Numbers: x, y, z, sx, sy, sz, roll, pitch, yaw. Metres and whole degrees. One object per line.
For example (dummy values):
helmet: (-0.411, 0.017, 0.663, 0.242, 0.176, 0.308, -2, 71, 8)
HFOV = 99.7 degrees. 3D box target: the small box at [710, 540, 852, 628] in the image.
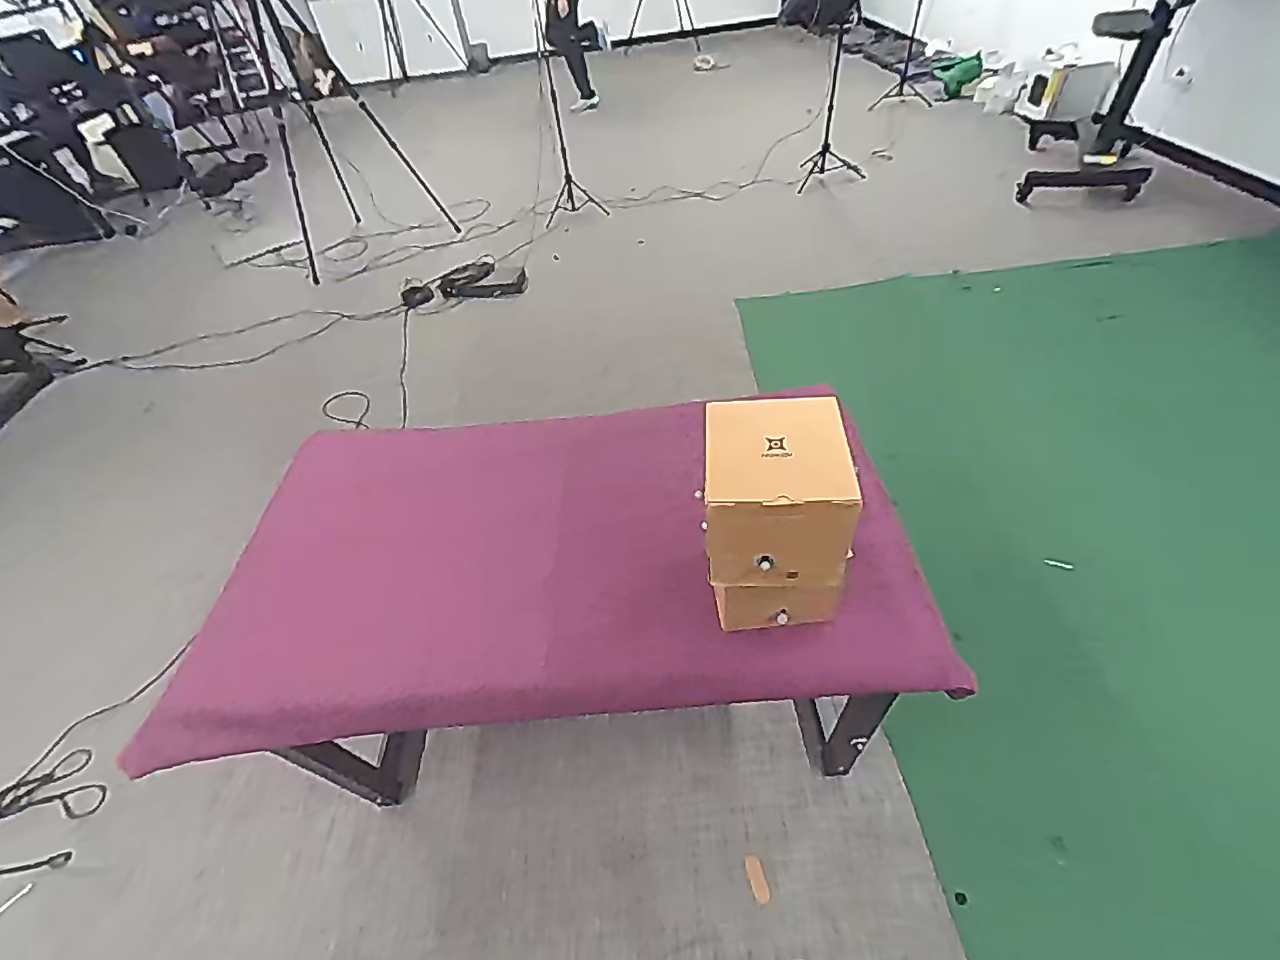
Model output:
small box: (0.198, 0.107, 0.824, 0.179, 0.176, 0.168, -7, 45, 2)

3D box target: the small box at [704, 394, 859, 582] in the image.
small box: (0.167, 0.011, 0.694, 0.168, 0.176, 0.179, -2, 47, 8)
